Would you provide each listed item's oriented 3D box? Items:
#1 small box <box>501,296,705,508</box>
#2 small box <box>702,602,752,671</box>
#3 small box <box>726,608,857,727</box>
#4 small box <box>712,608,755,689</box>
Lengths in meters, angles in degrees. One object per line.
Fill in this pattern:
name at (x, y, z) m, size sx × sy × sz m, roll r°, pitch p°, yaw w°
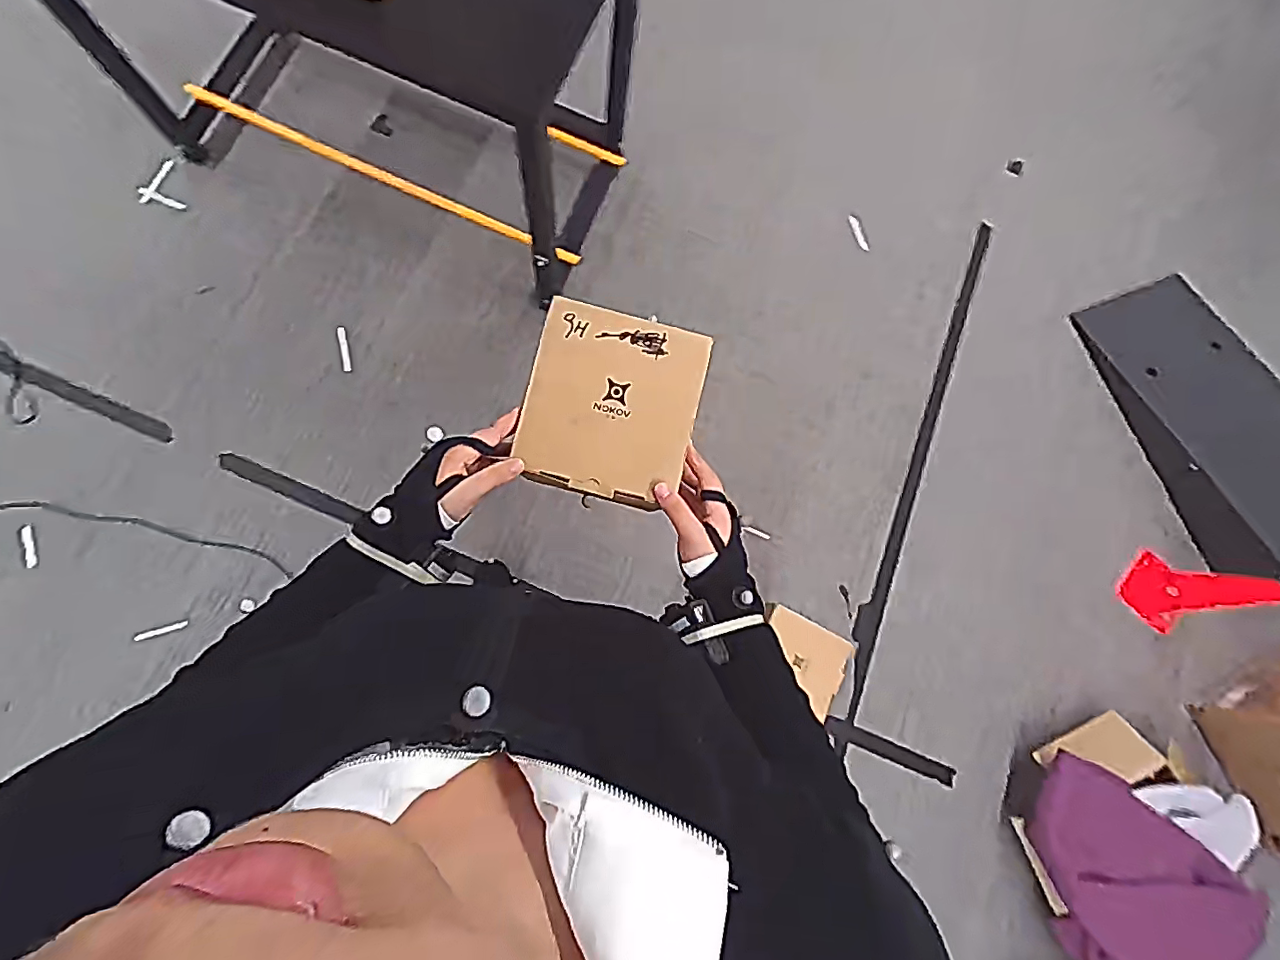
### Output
small box at (-0.039, -0.070, 0.596) m, size 0.168 × 0.176 × 0.179 m, roll 13°, pitch 85°, yaw -4°
small box at (0.275, 0.432, 1.433) m, size 0.168 × 0.176 × 0.179 m, roll 19°, pitch 78°, yaw -2°
small box at (0.303, 0.373, 1.113) m, size 0.179 × 0.176 × 0.168 m, roll 28°, pitch 77°, yaw 1°
small box at (0.291, 0.406, 1.272) m, size 0.179 × 0.176 × 0.168 m, roll 23°, pitch 77°, yaw -1°
